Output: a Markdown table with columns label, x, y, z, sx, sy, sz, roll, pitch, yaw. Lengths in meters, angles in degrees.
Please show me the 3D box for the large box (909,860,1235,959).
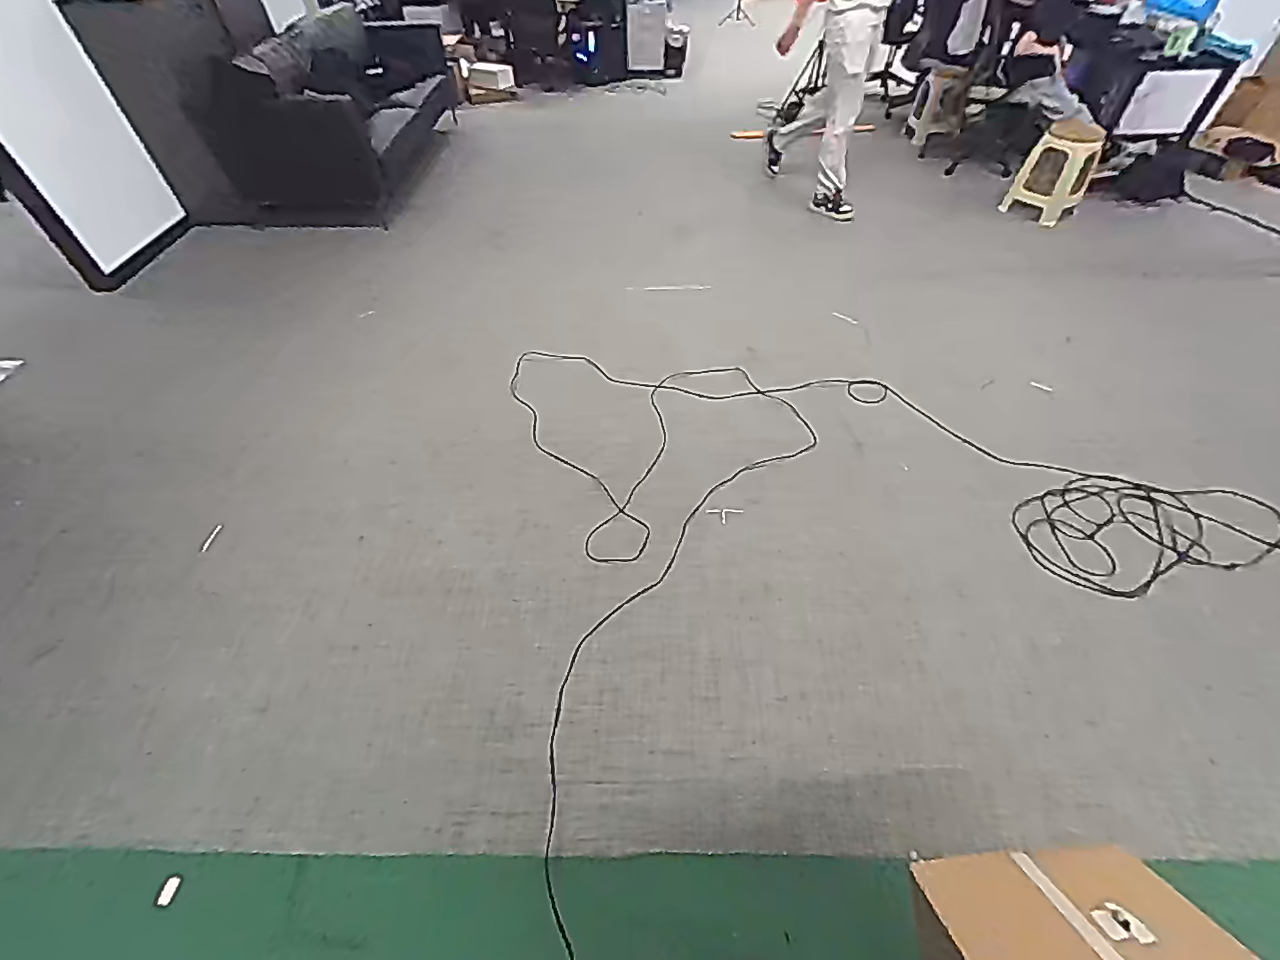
| label | x | y | z | sx | sy | sz | roll | pitch | yaw |
| --- | --- | --- | --- | --- | --- | --- | --- | --- | --- |
| large box | 0.565 | 0.728 | 0.608 | 0.320 | 0.408 | 0.320 | -6 | 89 | 3 |
